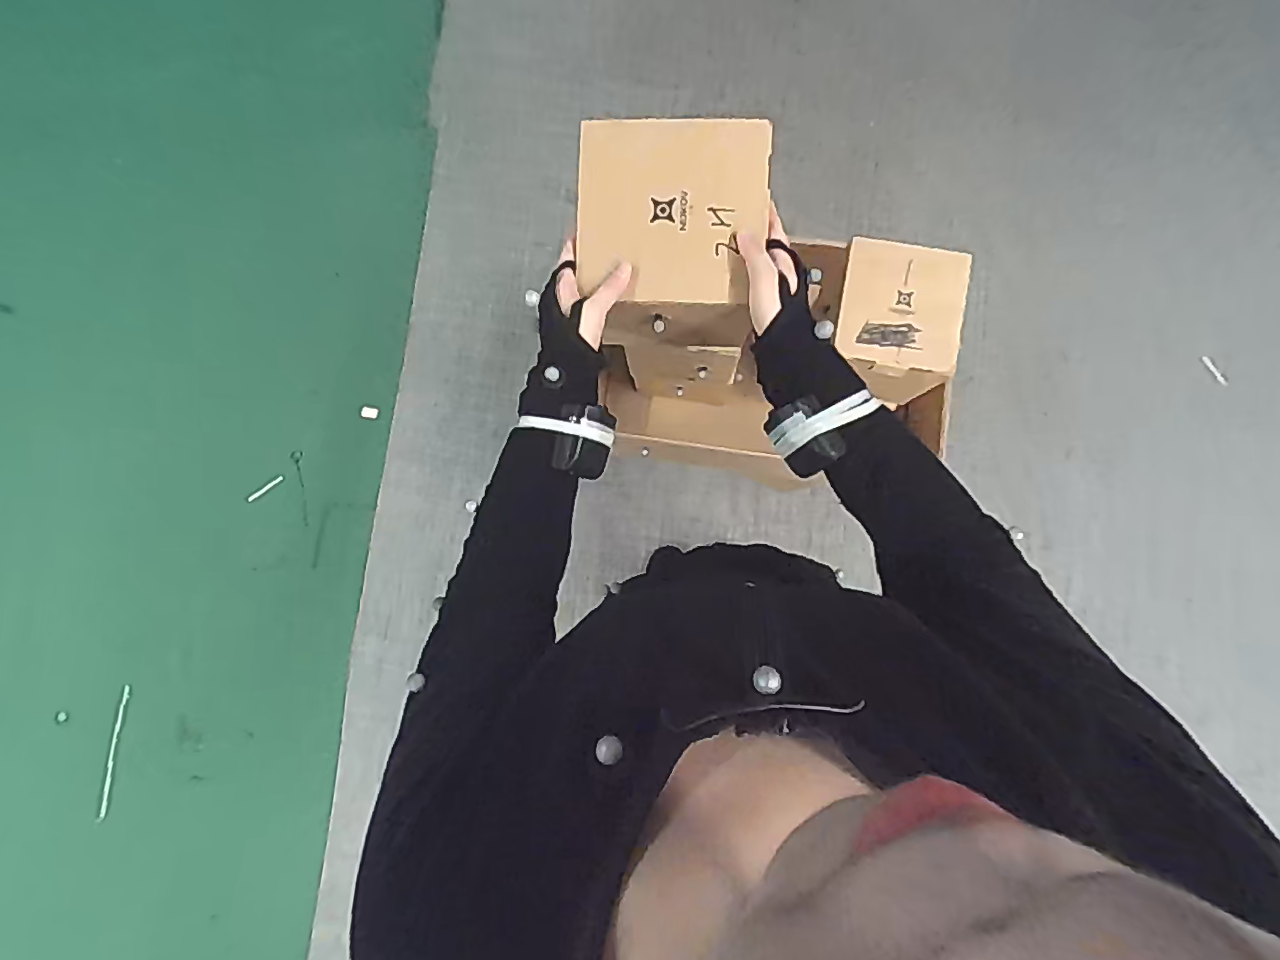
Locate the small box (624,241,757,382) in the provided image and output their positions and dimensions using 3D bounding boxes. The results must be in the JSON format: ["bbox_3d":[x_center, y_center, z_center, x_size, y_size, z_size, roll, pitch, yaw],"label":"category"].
[{"bbox_3d":[0.075,-0.262,0.833,0.168,0.176,0.179,9,85,4],"label":"small box"}]

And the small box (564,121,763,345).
[{"bbox_3d":[0.026,-0.244,0.571,0.179,0.176,0.168,2,92,4],"label":"small box"}]

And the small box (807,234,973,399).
[{"bbox_3d":[0.361,-0.233,0.812,0.168,0.176,0.179,11,85,4],"label":"small box"}]
